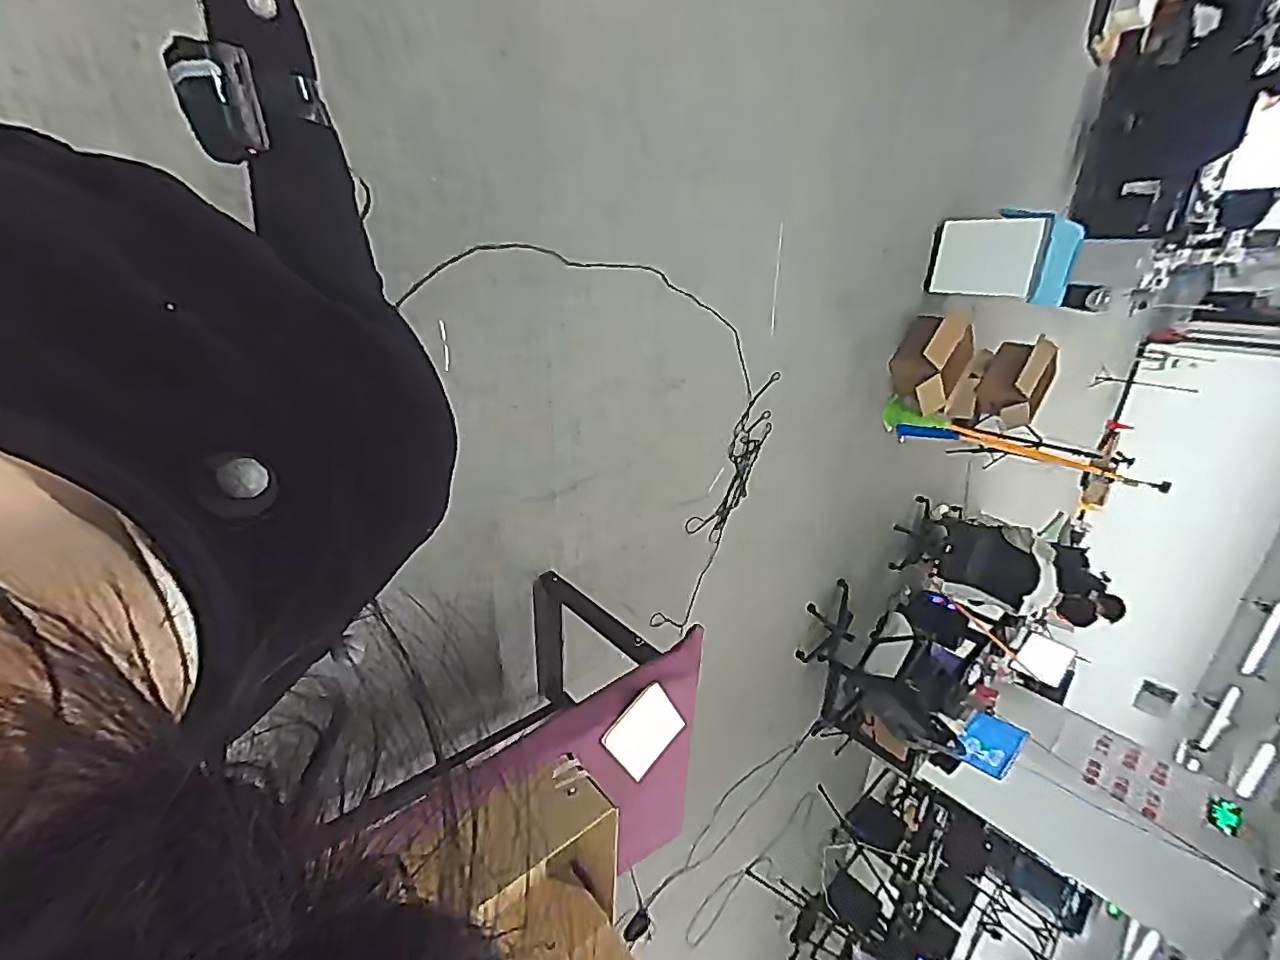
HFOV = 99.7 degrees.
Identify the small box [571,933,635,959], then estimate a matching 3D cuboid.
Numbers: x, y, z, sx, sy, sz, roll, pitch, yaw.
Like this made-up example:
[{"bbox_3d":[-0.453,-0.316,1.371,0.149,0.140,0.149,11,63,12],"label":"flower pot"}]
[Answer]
[{"bbox_3d":[-0.079,1.079,1.093,0.168,0.176,0.179,-14,115,-40],"label":"small box"}]
